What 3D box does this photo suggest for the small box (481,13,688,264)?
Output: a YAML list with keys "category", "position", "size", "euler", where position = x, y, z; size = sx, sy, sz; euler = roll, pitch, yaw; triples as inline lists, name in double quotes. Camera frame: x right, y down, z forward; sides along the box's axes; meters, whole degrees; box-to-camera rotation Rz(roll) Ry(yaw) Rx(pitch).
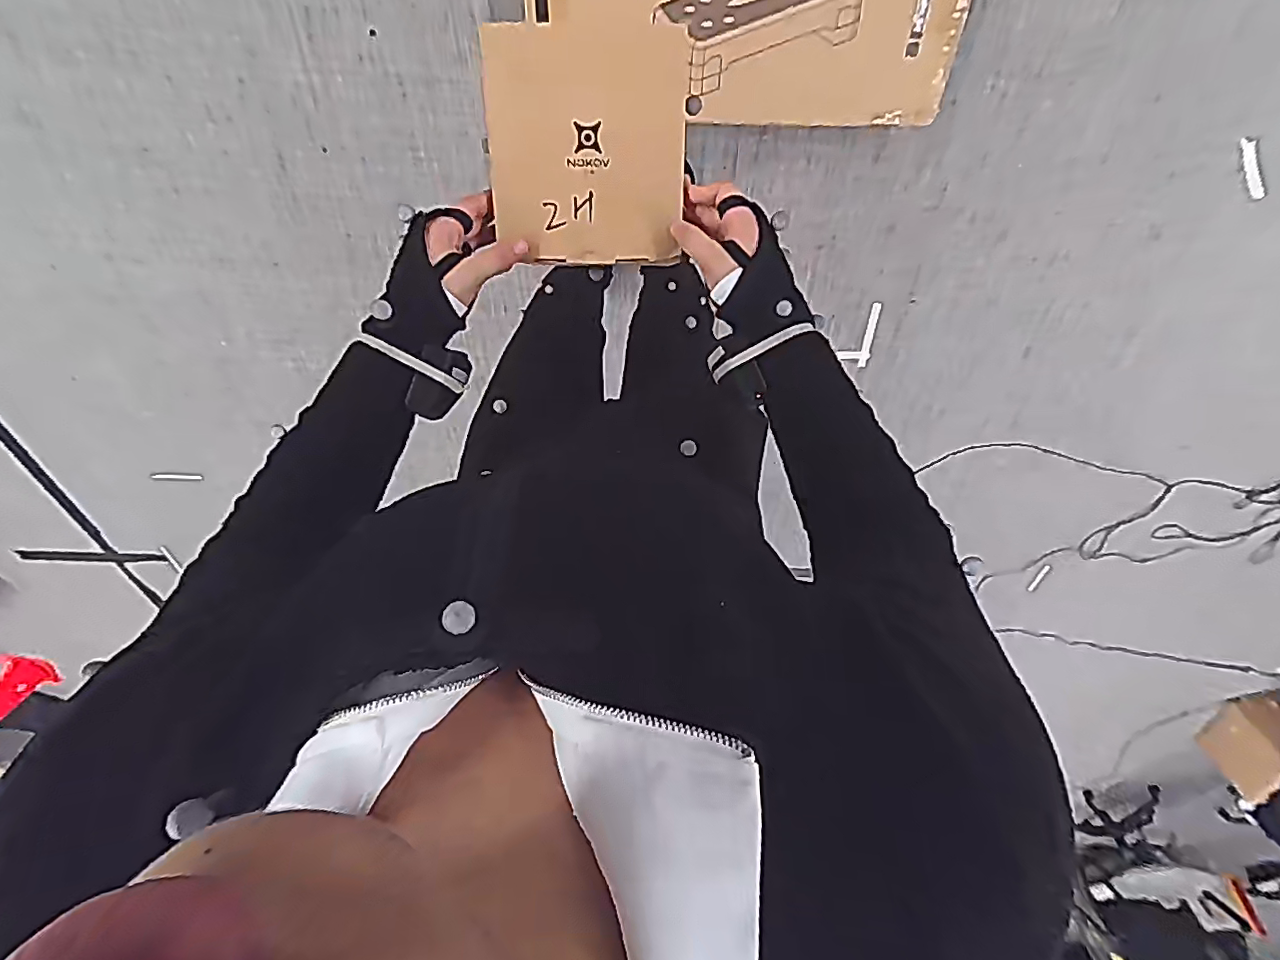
- category: "small box"
  position: [-0.047, -0.309, 0.526]
  size: [0.168, 0.176, 0.179]
  euler: [0, 111, -1]
